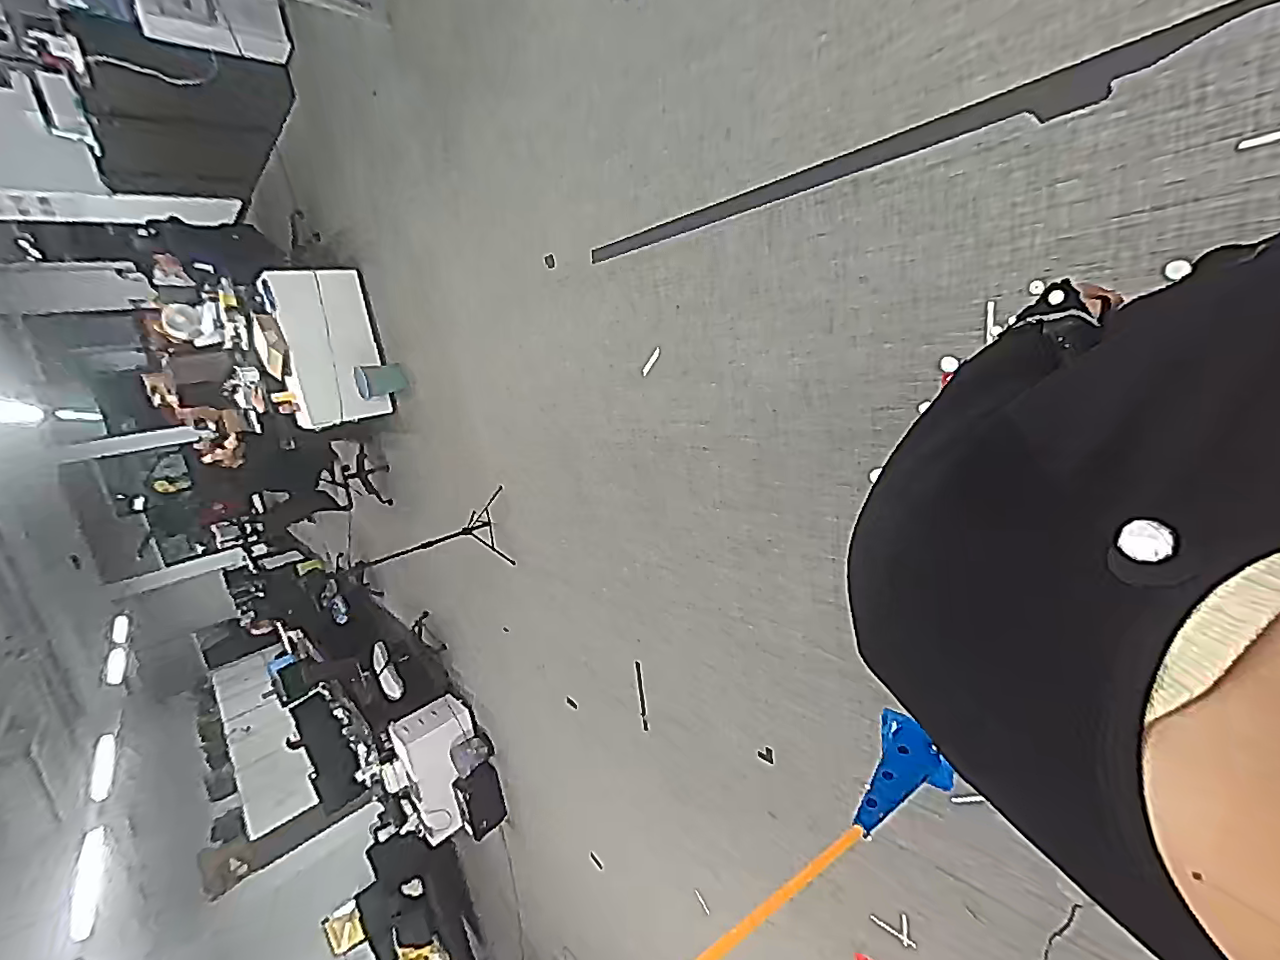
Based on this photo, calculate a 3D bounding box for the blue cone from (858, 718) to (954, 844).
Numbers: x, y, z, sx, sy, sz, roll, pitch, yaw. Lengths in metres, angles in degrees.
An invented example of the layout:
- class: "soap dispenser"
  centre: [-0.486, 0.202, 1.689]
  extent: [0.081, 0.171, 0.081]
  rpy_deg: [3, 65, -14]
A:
- class: "blue cone"
  centre: [0.702, 0.850, 1.486]
  extent: [0.193, 0.380, 0.192]
  rpy_deg: [12, 115, 47]
